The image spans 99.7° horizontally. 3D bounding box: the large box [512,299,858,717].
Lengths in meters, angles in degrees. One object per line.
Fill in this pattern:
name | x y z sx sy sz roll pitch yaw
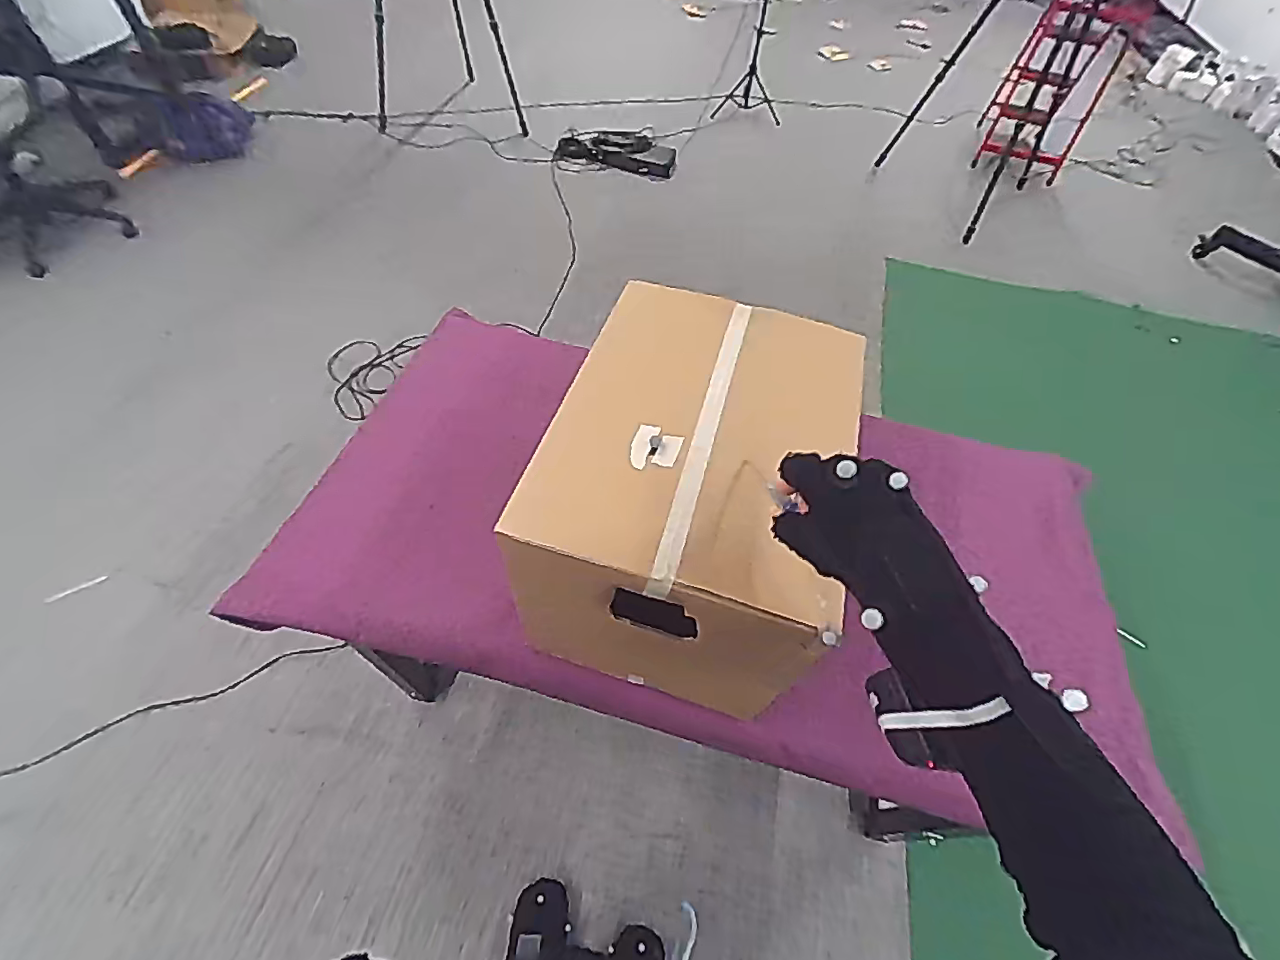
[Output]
large box | 0.066 0.035 0.717 0.320 0.320 0.408 16 55 7
